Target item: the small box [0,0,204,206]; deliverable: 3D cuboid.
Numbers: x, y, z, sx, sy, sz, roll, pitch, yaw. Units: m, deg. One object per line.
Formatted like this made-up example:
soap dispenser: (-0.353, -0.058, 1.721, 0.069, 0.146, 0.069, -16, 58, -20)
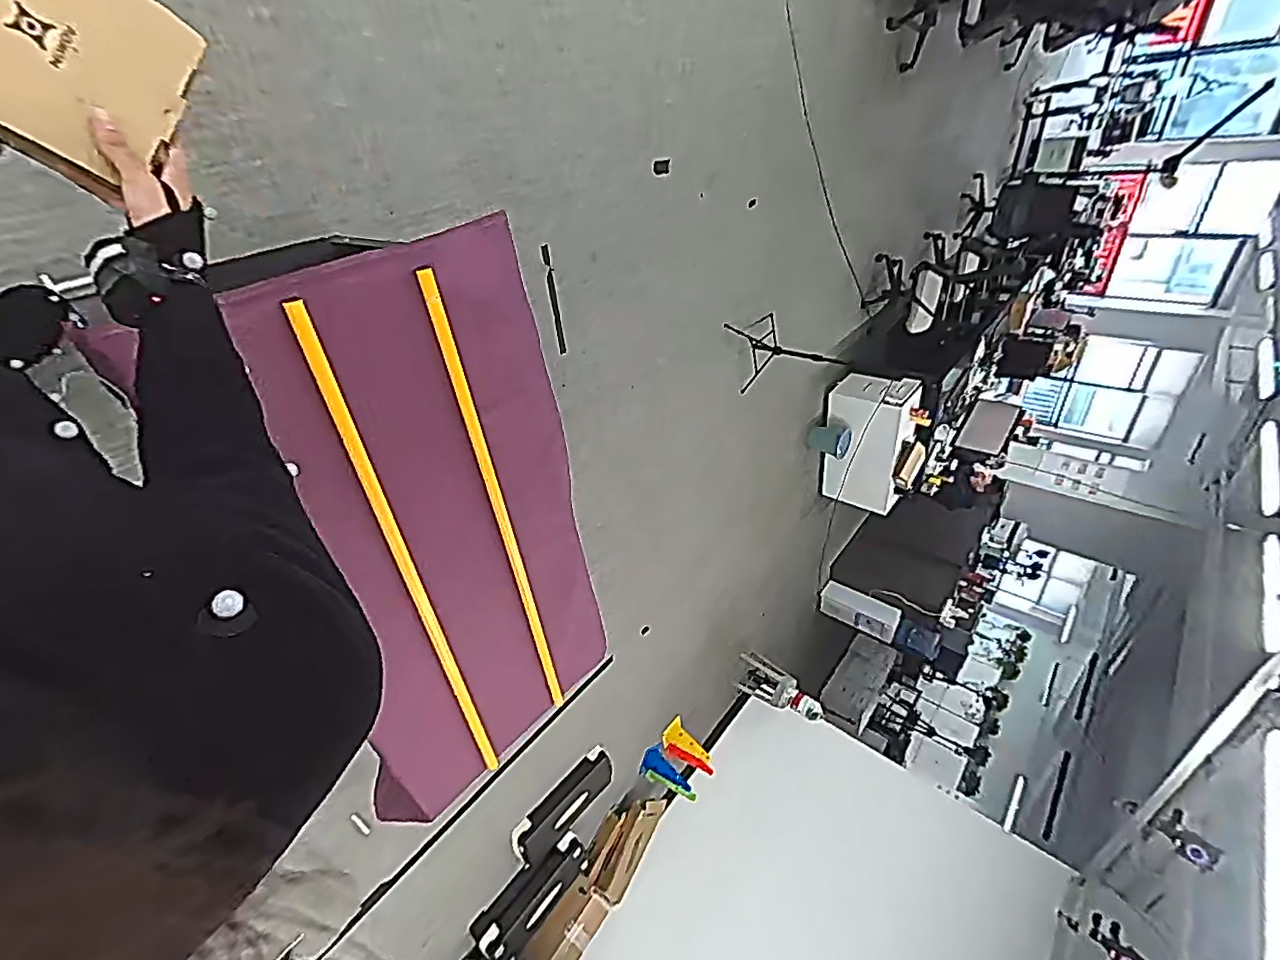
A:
small box: (-0.554, -0.381, 0.491, 0.179, 0.176, 0.168, 24, 89, -55)
